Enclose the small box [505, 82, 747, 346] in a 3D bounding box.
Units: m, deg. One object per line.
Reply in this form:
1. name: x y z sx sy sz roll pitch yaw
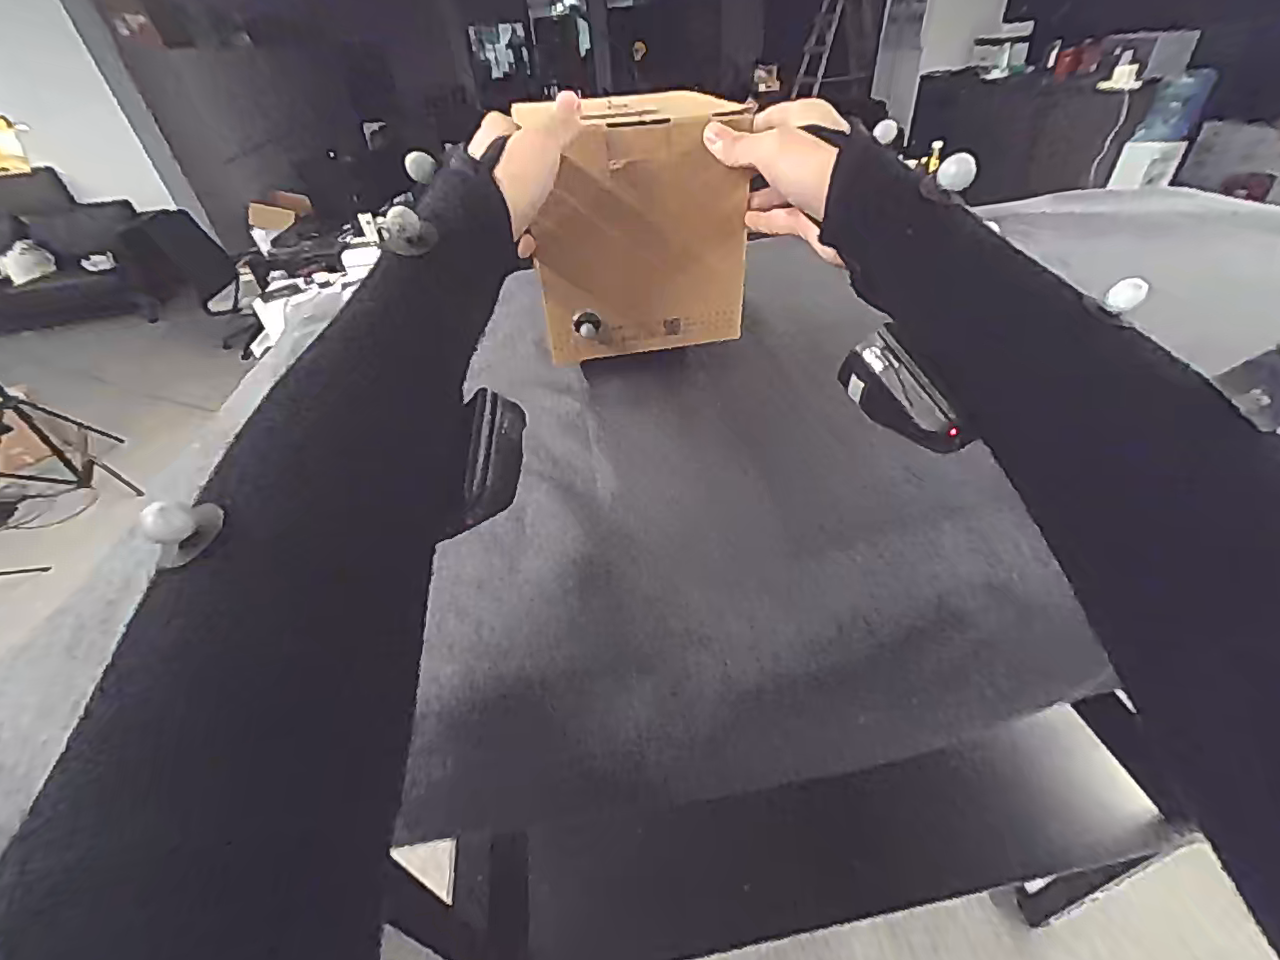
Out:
1. small box: -0.015 -0.225 0.465 0.168 0.176 0.179 -9 40 -6
